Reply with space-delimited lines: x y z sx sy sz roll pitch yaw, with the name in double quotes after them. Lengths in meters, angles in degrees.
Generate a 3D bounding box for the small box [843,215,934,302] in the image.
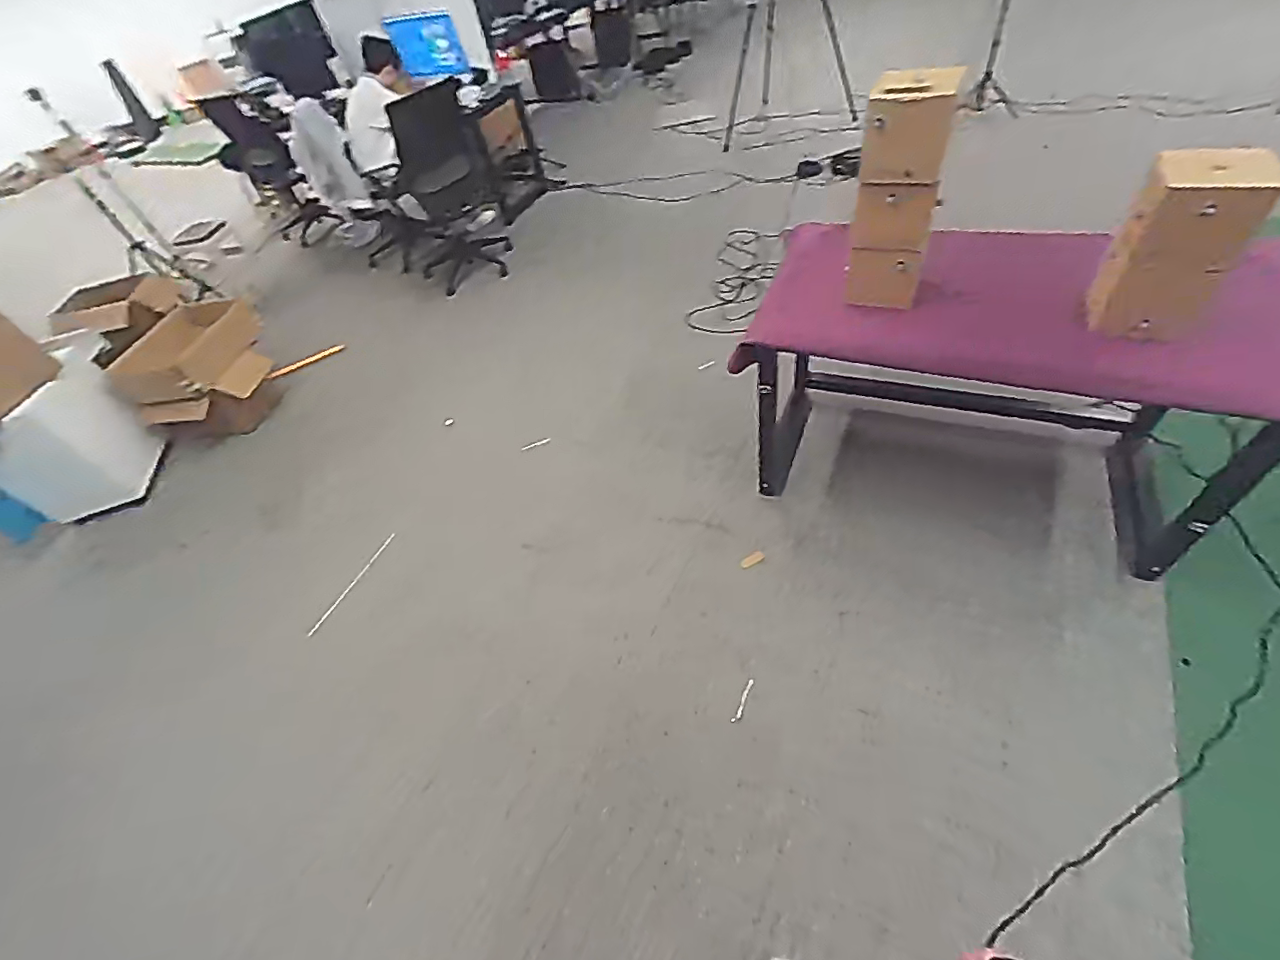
0.657 -0.594 1.440 0.179 0.176 0.168 15 55 24 "small box"

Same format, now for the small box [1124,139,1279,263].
1.109 -0.553 1.080 0.179 0.176 0.168 14 56 24 "small box"

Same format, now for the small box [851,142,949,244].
0.627 -0.694 1.316 0.179 0.176 0.168 14 56 24 "small box"

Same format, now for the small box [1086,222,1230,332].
1.138 -0.449 1.203 0.179 0.176 0.168 13 54 23 "small box"
